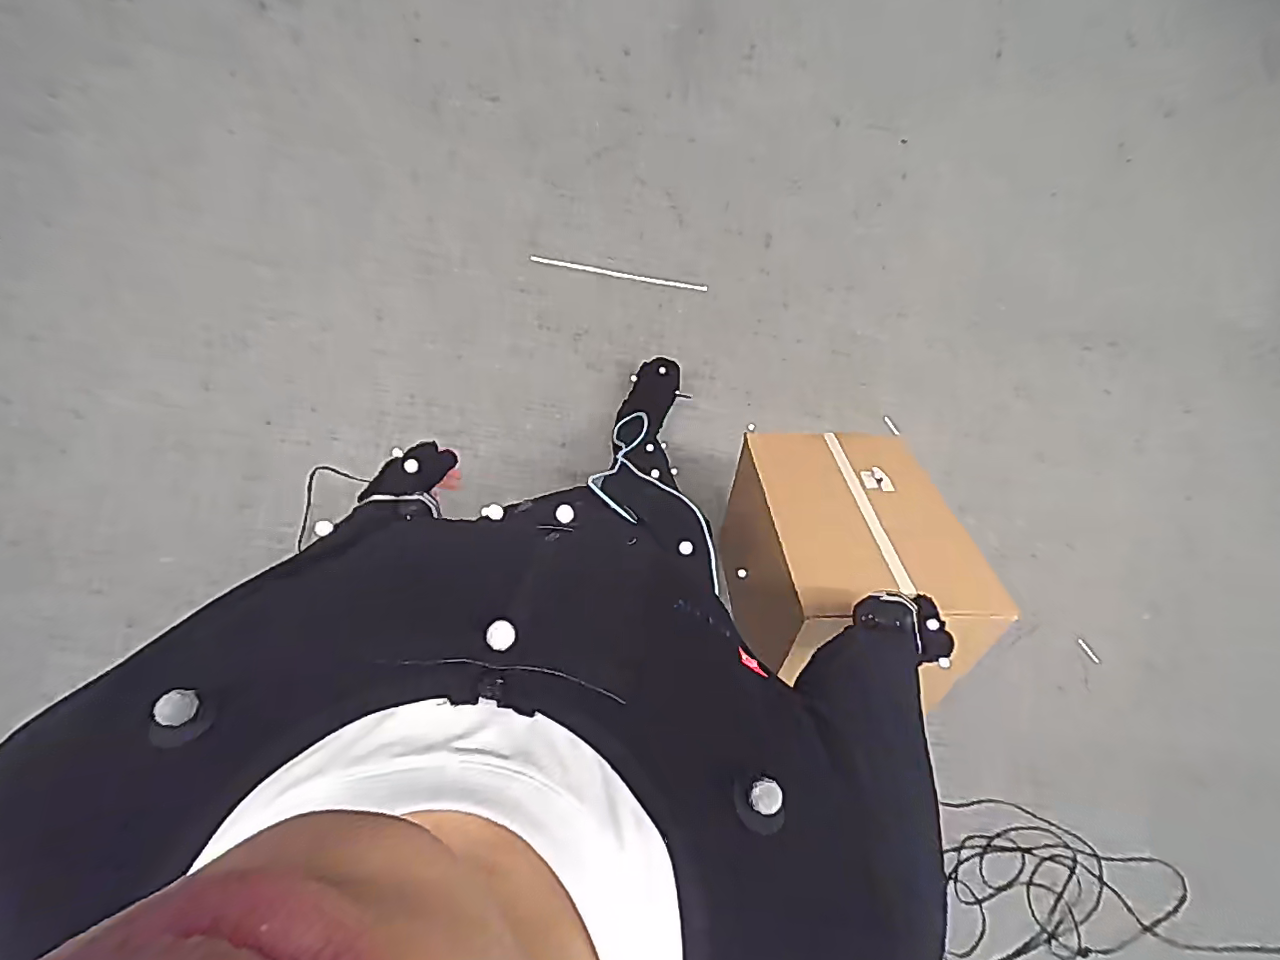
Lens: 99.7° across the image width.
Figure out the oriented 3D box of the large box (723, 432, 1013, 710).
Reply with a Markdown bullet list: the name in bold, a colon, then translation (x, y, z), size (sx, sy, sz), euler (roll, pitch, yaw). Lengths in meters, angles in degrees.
- **large box**: translation (0.356, 0.157, 0.992), size (0.320, 0.408, 0.320), euler (1, 132, -6)
